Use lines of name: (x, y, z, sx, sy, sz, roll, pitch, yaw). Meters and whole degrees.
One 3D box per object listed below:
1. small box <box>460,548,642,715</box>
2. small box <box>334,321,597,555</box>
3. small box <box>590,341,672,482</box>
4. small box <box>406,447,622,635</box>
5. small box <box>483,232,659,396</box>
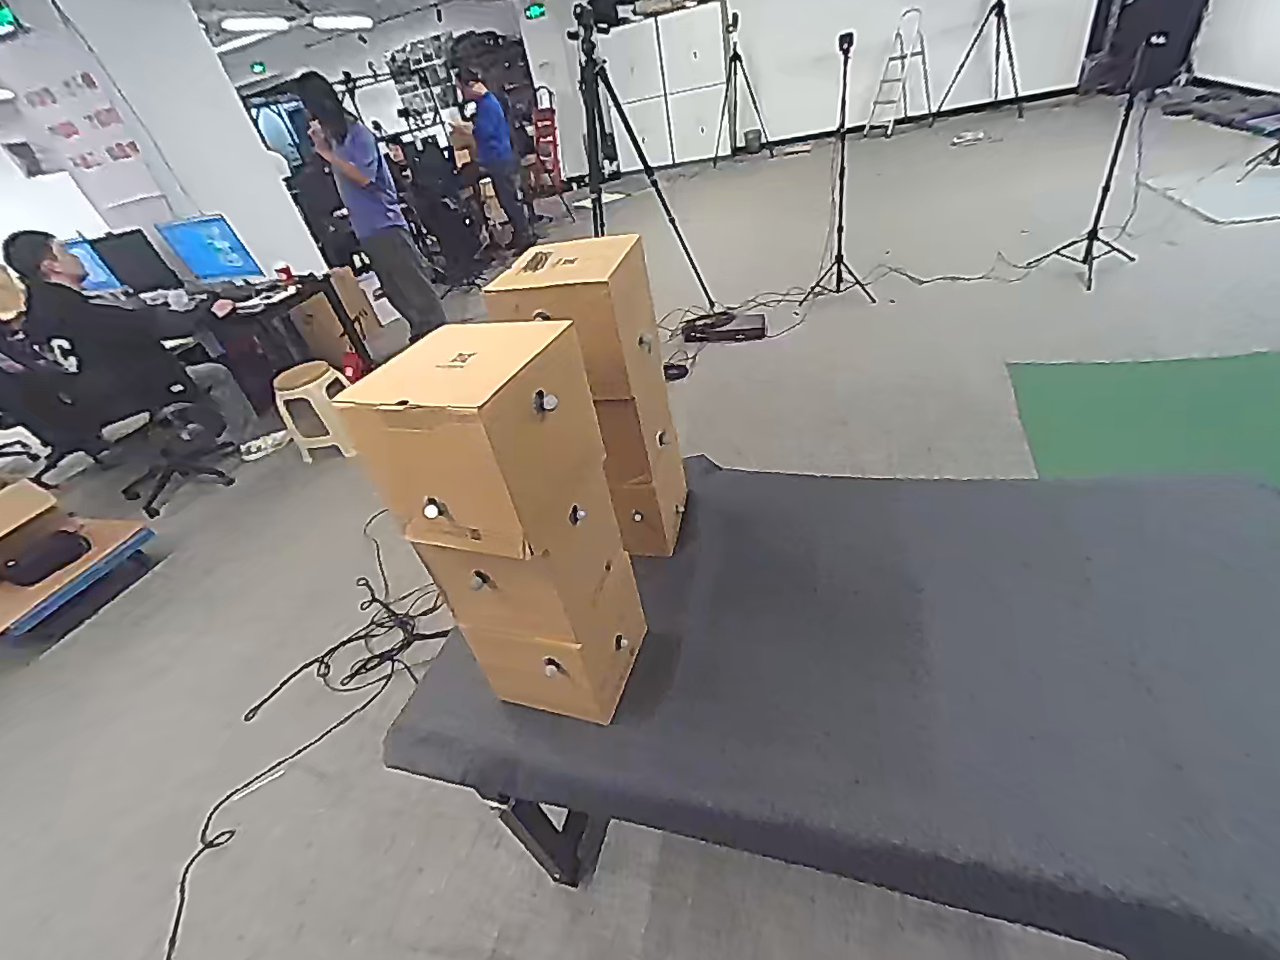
small box: (-0.109, 0.201, 0.756, 0.179, 0.176, 0.168, 4, 38, 21)
small box: (-0.155, -0.050, 0.554, 0.168, 0.176, 0.179, 5, 40, 21)
small box: (-0.055, -0.111, 0.874, 0.179, 0.176, 0.168, 1, 42, 16)
small box: (-0.139, 0.070, 0.665, 0.179, 0.176, 0.168, 1, 38, 19)
small box: (-0.084, -0.230, 0.764, 0.179, 0.176, 0.168, 2, 42, 18)
